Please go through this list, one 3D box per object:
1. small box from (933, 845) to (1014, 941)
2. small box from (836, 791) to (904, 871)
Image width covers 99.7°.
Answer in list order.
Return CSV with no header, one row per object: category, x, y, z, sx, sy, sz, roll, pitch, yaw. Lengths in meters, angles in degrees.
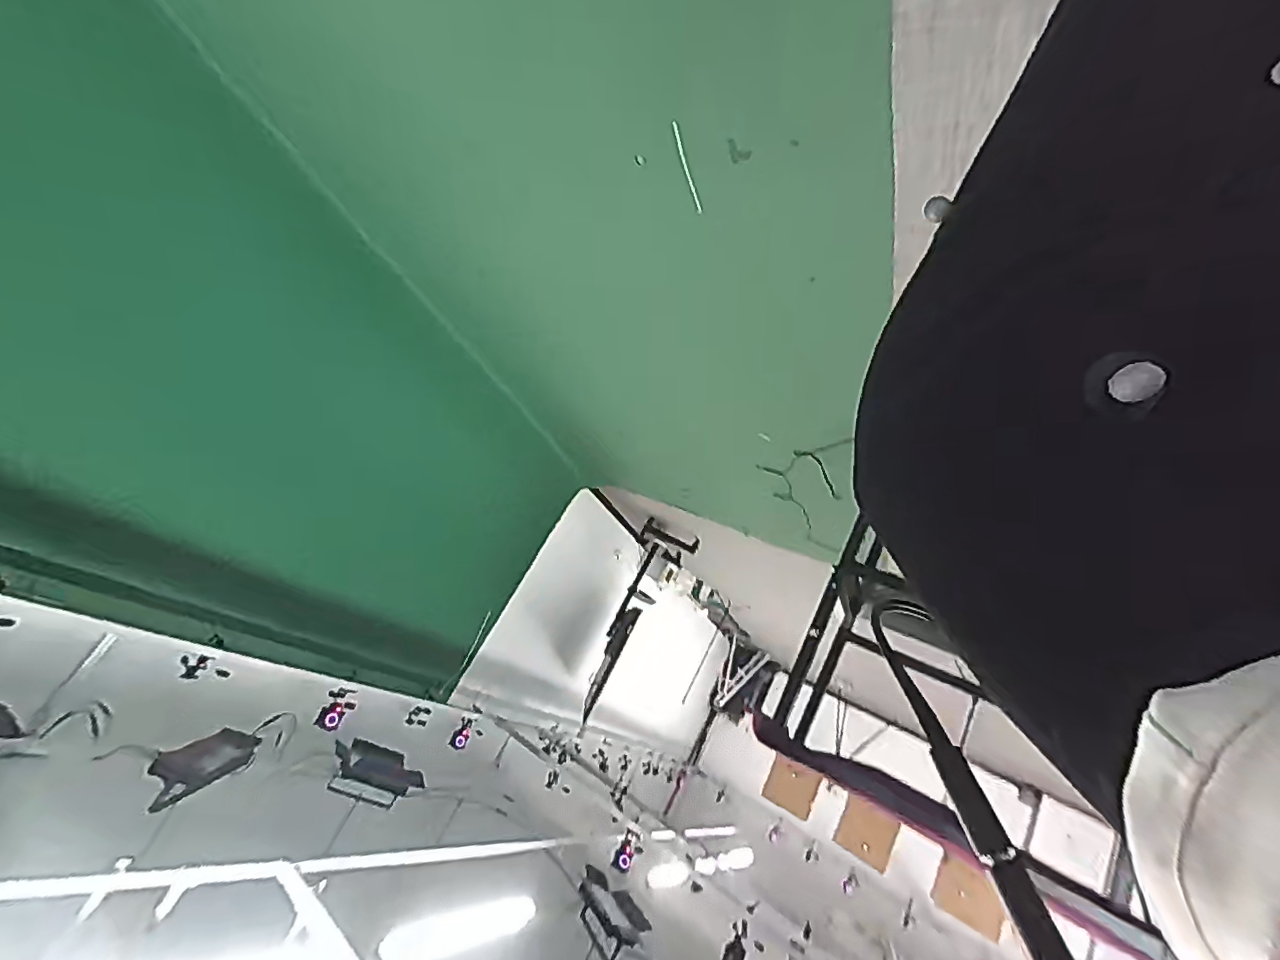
small box,1.056,1.297,1.715,0.168,0.176,0.179,21,162,28
small box,0.807,1.215,1.885,0.179,0.176,0.168,19,161,34
